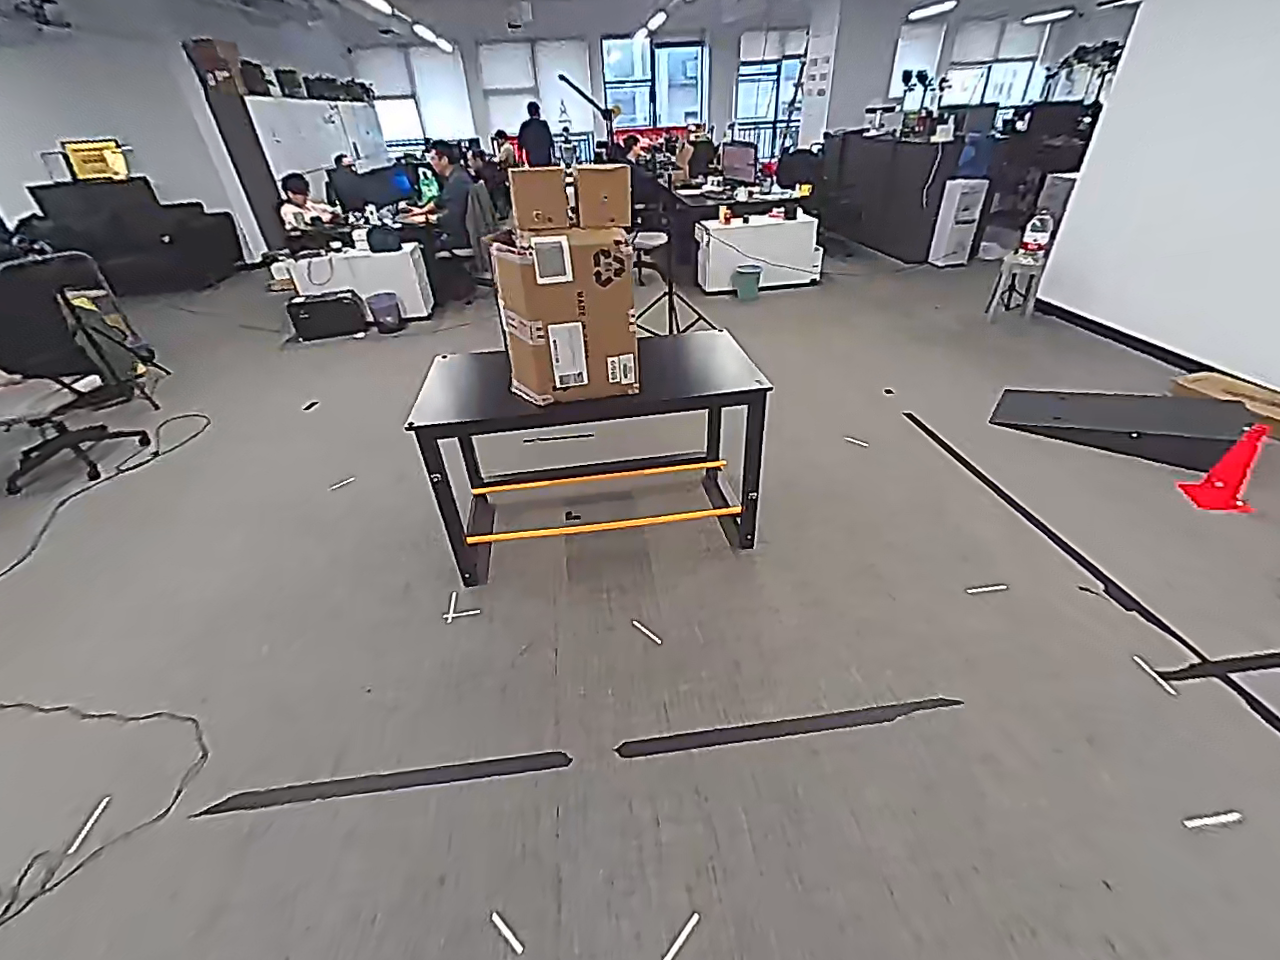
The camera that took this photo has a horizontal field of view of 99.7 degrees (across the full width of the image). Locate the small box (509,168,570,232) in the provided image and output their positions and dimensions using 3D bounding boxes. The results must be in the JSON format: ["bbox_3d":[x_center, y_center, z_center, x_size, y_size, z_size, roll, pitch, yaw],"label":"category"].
[{"bbox_3d":[-0.324,-0.902,1.741,0.168,0.176,0.179,-10,33,-11],"label":"small box"}]
